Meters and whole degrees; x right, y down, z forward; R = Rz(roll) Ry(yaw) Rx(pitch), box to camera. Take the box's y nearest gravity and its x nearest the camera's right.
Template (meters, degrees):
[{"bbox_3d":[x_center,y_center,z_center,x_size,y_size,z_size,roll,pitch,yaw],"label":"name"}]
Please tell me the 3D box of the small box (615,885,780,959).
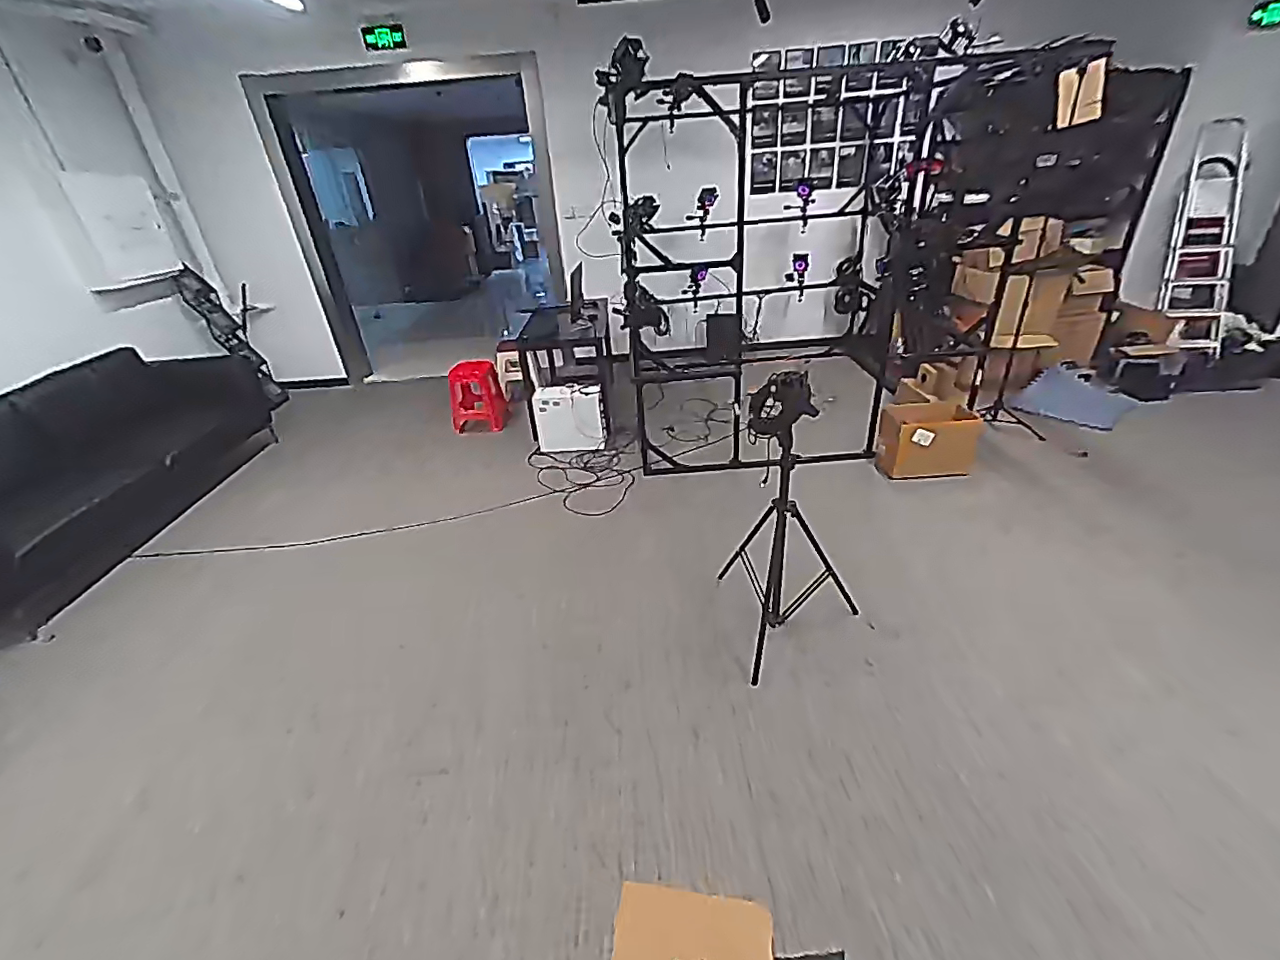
[{"bbox_3d":[0.056,0.591,0.588,0.179,0.176,0.168,6,26,7],"label":"small box"}]
